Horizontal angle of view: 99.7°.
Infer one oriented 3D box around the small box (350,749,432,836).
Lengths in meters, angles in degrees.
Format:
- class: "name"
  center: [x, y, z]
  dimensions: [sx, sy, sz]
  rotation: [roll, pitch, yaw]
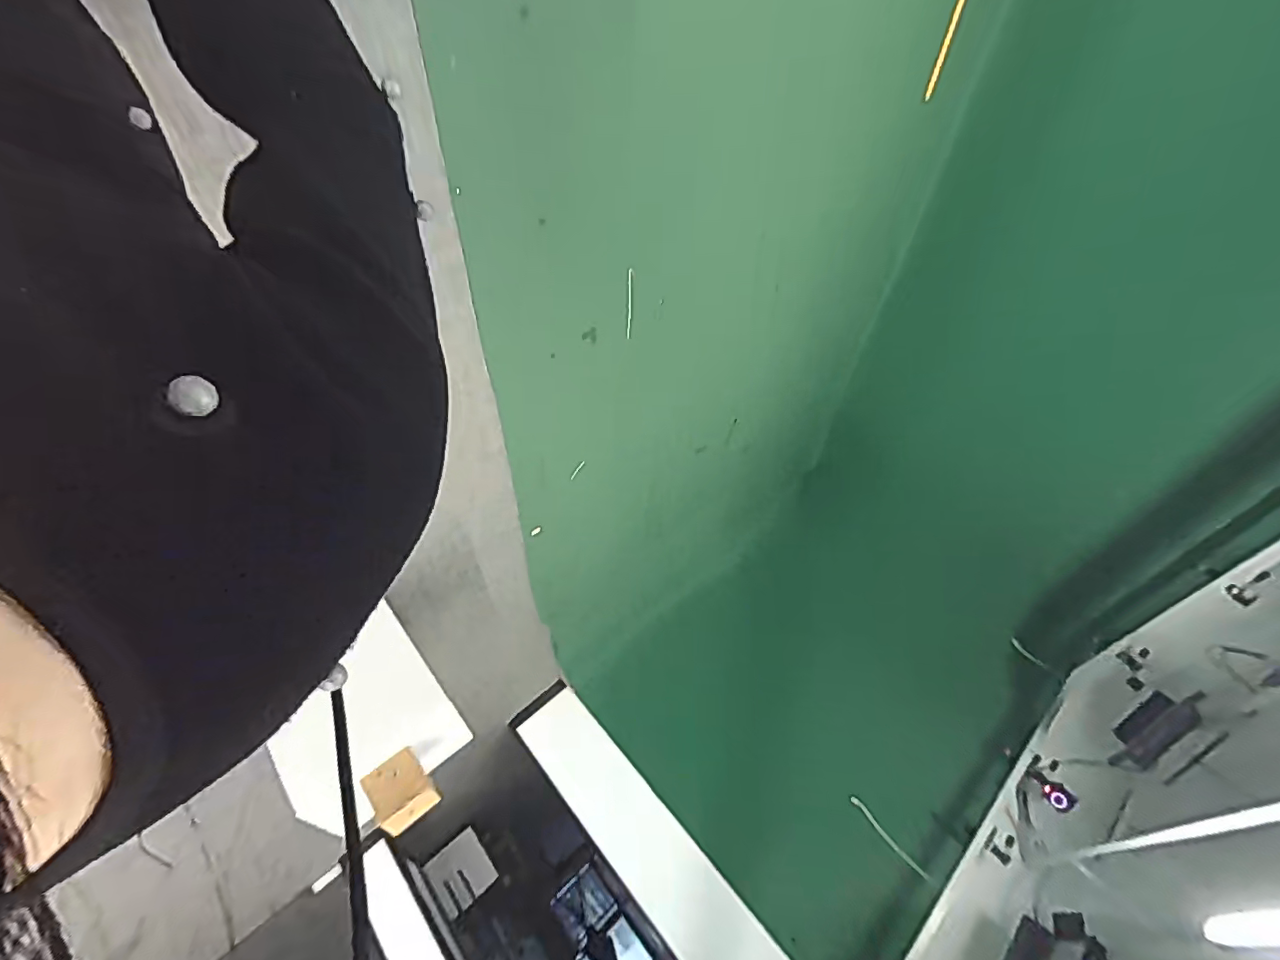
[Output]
- class: "small box"
  center: [-0.813, 1.019, 1.770]
  dimensions: [0.168, 0.176, 0.179]
  rotation: [-32, 148, -29]
